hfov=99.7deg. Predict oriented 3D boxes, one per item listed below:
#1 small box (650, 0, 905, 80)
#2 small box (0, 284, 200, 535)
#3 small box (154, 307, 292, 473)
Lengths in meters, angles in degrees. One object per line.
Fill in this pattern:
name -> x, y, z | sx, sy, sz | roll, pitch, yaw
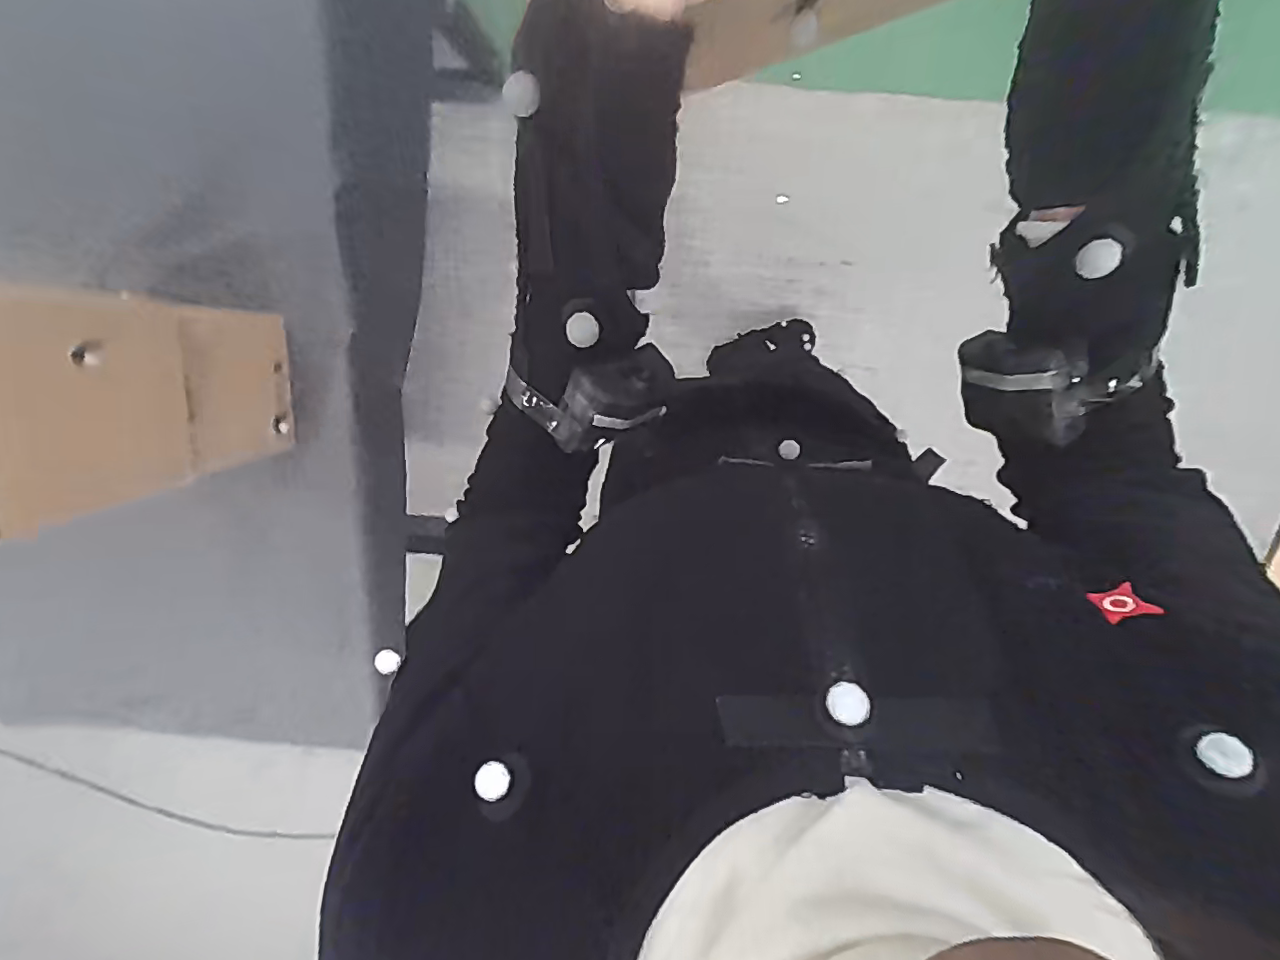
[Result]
small box -> 0.070, -0.300, 0.219 | 0.179, 0.176, 0.168 | -12, 112, 17
small box -> -0.525, -0.072, 0.458 | 0.168, 0.176, 0.179 | 7, 106, 3
small box -> -0.531, -0.110, 0.616 | 0.179, 0.176, 0.168 | 1, 105, 2
